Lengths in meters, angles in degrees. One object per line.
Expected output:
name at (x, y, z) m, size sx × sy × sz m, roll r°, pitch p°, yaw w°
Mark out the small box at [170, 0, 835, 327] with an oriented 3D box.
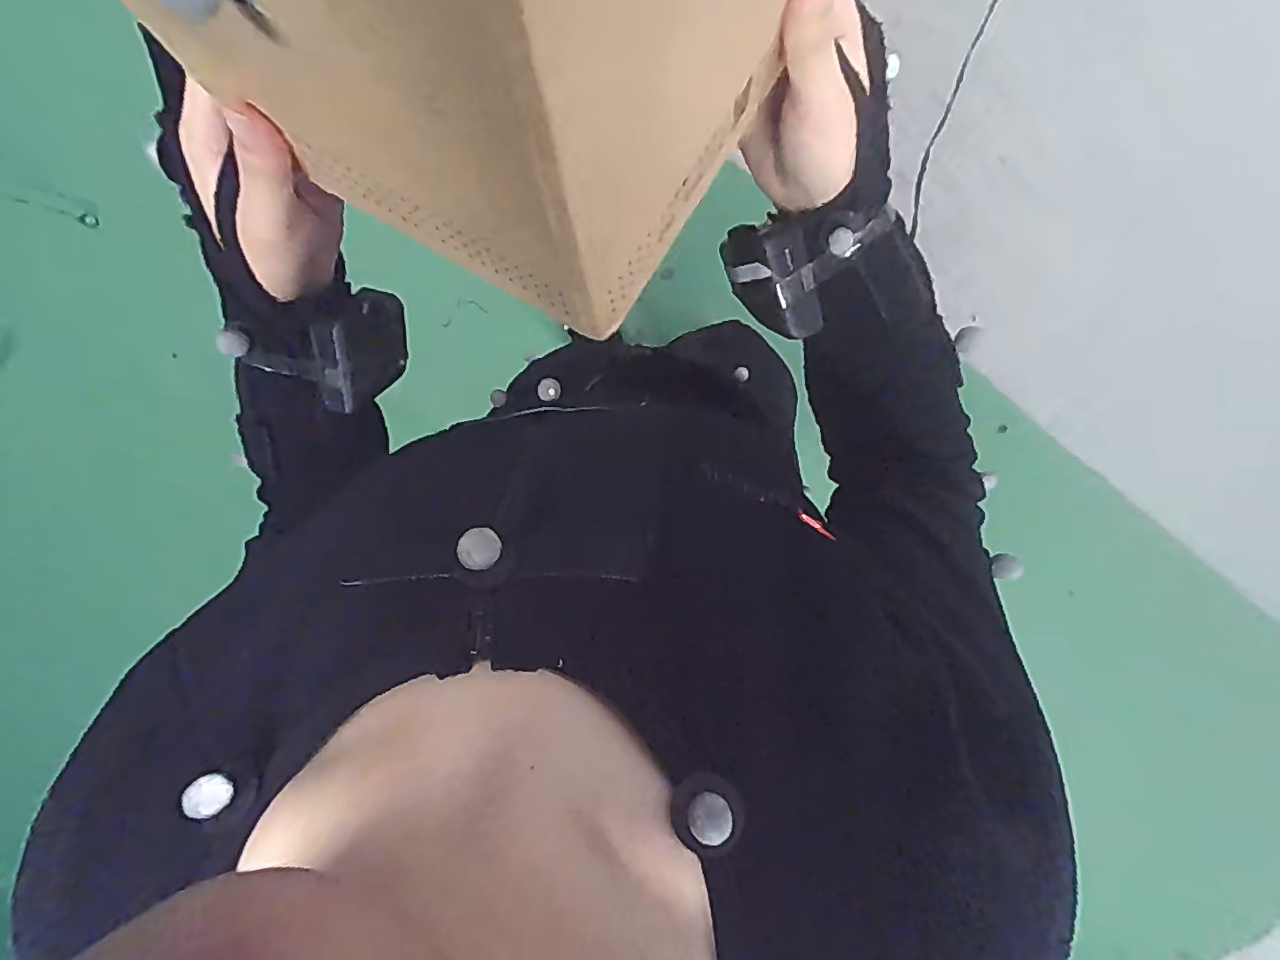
small box at (-0.039, -0.177, 0.165) m, size 0.179 × 0.176 × 0.168 m, roll 30°, pitch 83°, yaw 7°
